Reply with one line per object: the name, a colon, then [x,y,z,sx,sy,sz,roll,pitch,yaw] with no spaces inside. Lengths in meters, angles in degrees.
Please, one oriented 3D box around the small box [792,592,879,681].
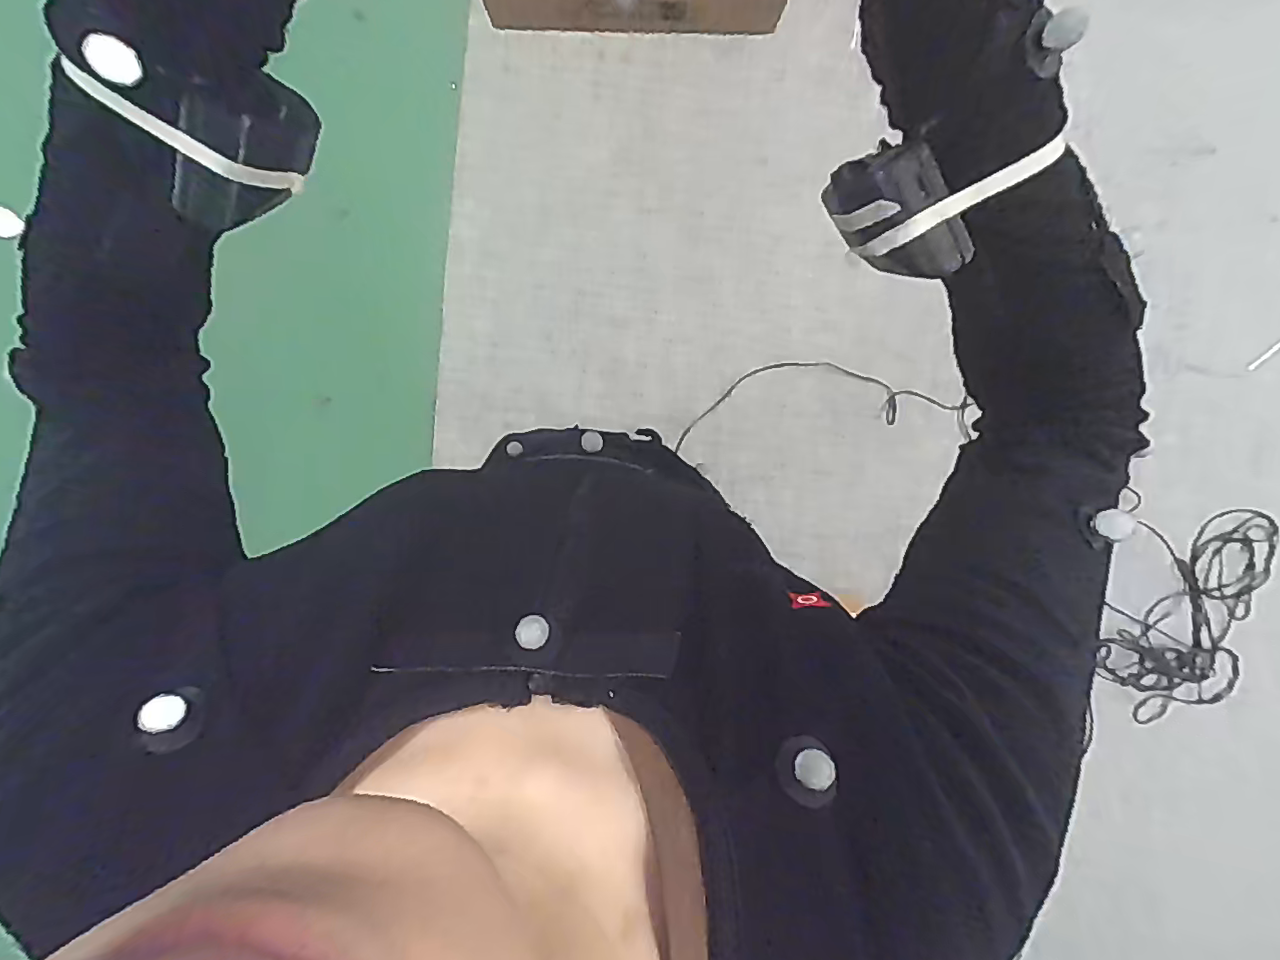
small box: [0.507,0.408,1.425,0.168,0.176,0.179,4,93,0]
